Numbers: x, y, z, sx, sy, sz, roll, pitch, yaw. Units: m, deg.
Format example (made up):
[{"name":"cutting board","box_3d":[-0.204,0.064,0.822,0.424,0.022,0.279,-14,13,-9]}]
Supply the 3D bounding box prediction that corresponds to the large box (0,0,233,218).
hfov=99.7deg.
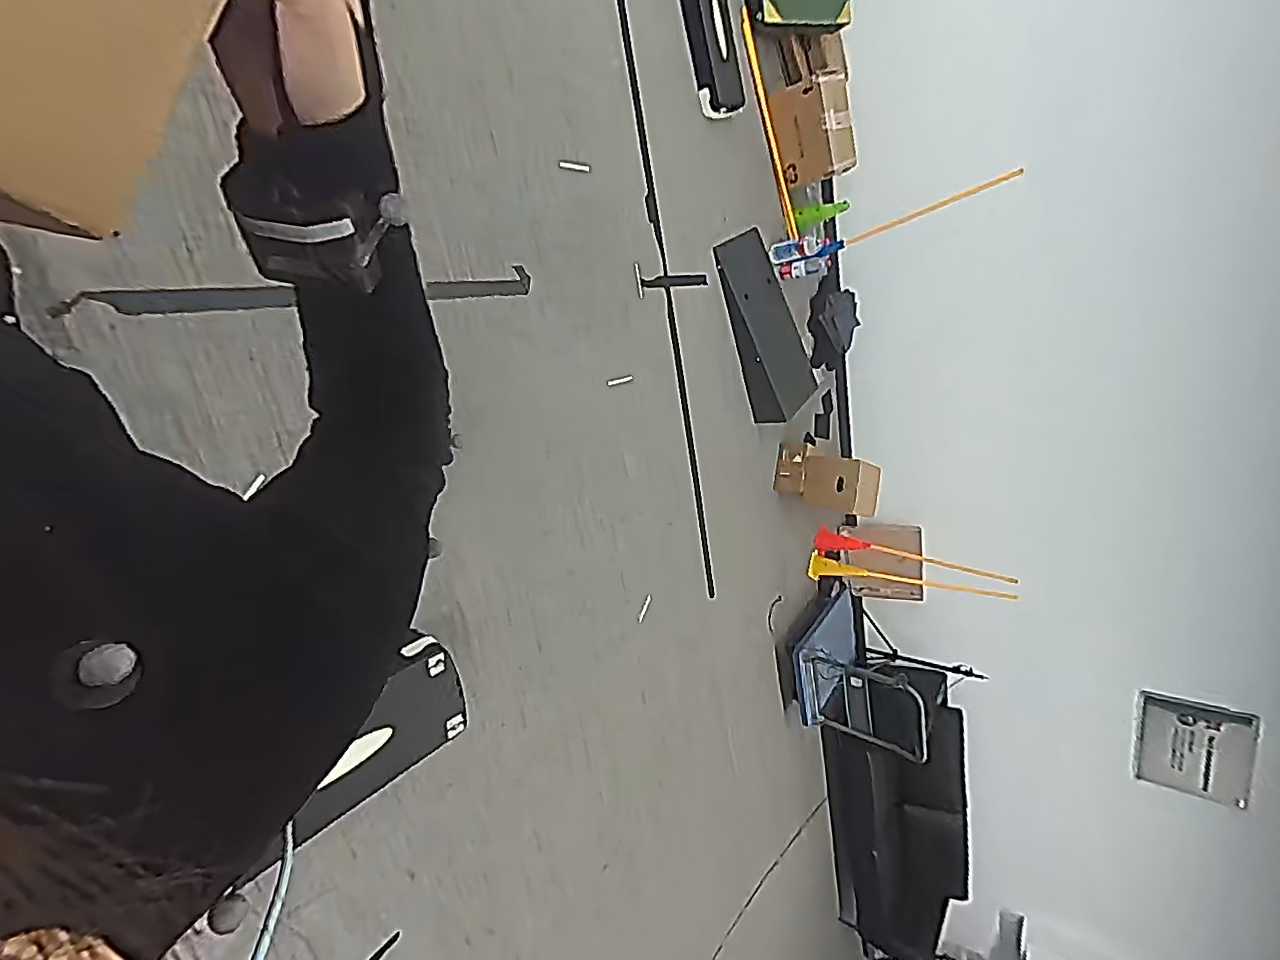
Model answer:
[{"name":"large box","box_3d":[-0.343,-0.317,0.106,0.408,0.320,0.320,27,82,-62]}]
